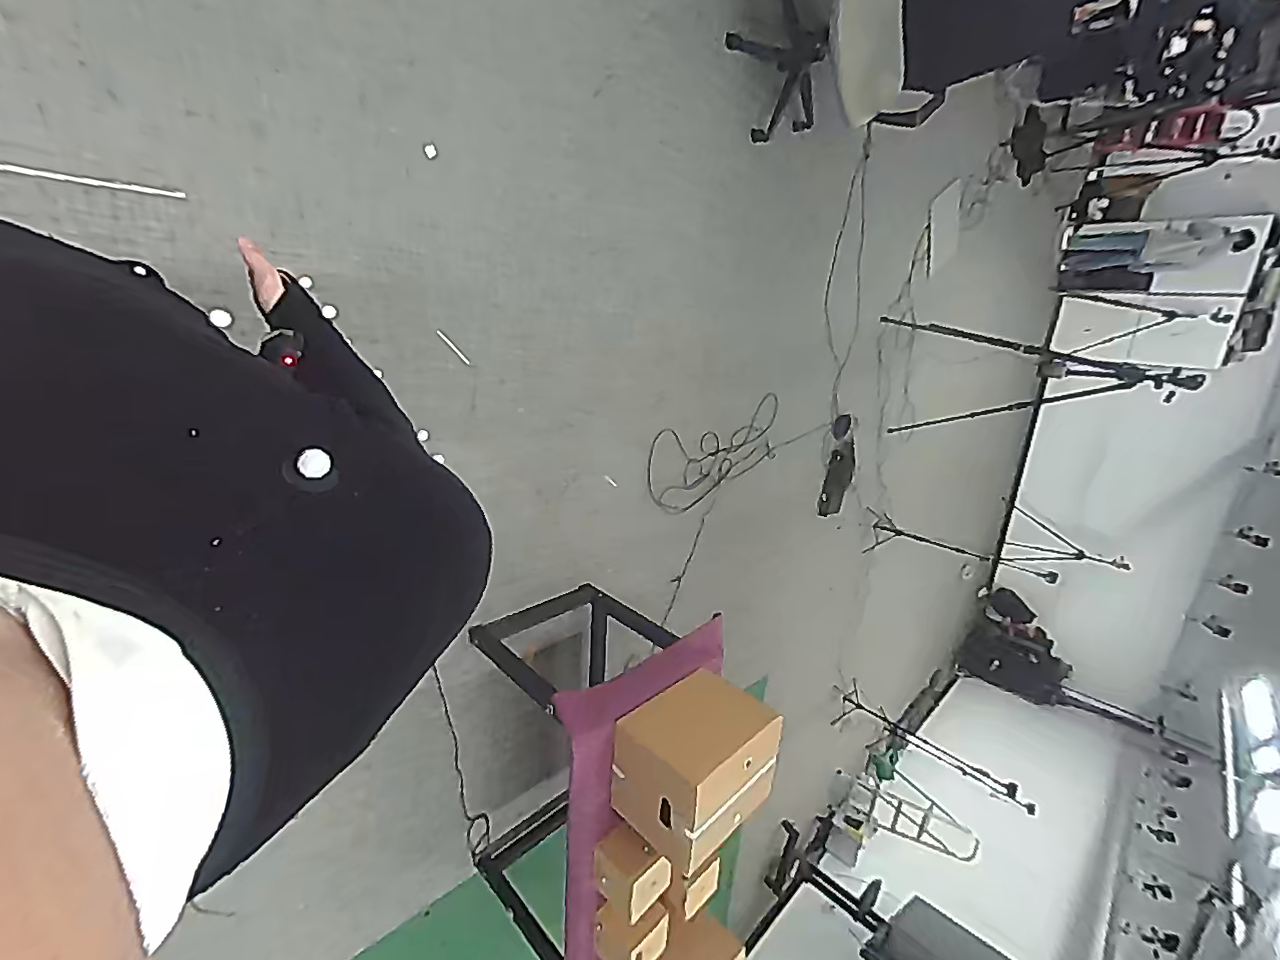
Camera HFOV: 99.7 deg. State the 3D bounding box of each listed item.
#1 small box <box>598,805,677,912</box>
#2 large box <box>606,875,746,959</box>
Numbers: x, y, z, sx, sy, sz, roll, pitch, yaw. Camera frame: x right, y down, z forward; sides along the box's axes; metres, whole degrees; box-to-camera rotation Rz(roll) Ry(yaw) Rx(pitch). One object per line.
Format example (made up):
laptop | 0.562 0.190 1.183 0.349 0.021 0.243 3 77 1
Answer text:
small box | -0.009 1.162 1.678 0.179 0.176 0.168 -15 114 -44
large box | 0.123 1.752 1.931 0.408 0.320 0.320 -11 111 -44
